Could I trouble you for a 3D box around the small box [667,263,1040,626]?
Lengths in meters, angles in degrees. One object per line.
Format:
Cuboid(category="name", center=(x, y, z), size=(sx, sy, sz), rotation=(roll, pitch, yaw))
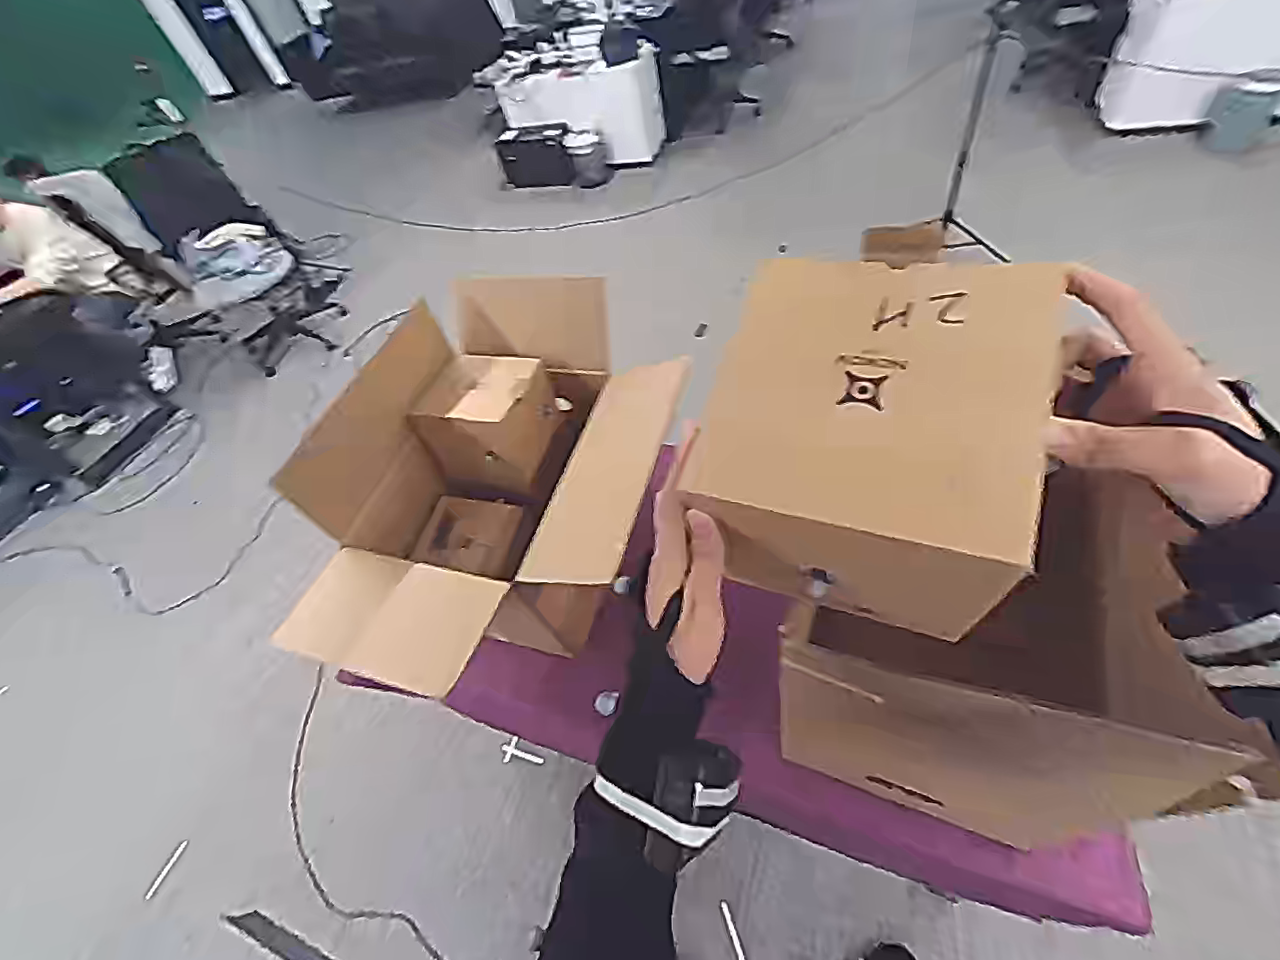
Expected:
Cuboid(category="small box", center=(0.140, -0.018, 0.367), size=(0.168, 0.176, 0.179), rotation=(13, 68, 25))
